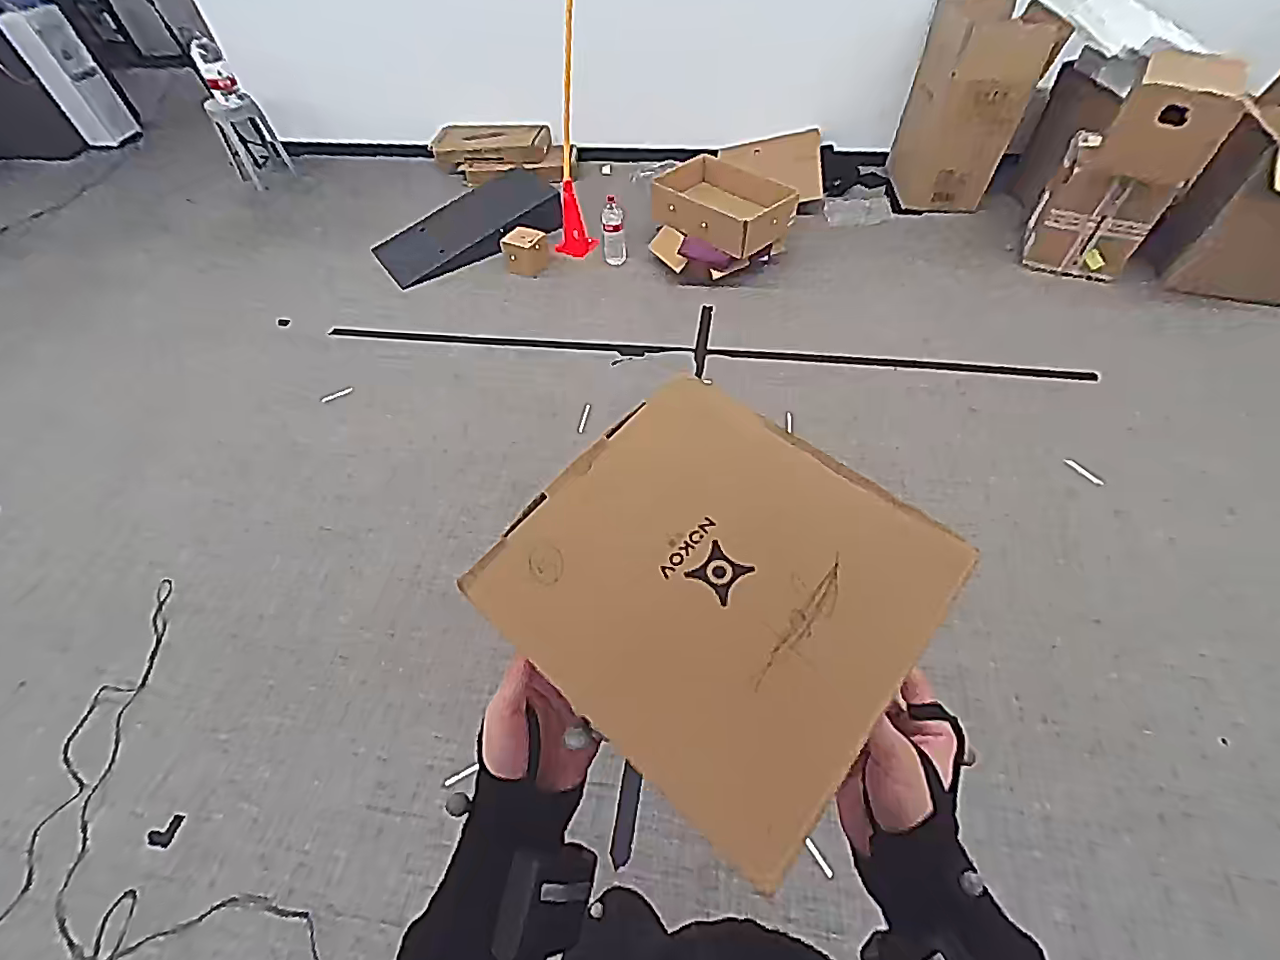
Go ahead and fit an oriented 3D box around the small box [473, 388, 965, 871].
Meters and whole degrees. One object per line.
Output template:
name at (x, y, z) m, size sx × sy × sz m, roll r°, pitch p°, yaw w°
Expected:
small box at (0.040, 0.086, 0.324) m, size 0.179 × 0.176 × 0.168 m, roll 35°, pitch 69°, yaw 21°
